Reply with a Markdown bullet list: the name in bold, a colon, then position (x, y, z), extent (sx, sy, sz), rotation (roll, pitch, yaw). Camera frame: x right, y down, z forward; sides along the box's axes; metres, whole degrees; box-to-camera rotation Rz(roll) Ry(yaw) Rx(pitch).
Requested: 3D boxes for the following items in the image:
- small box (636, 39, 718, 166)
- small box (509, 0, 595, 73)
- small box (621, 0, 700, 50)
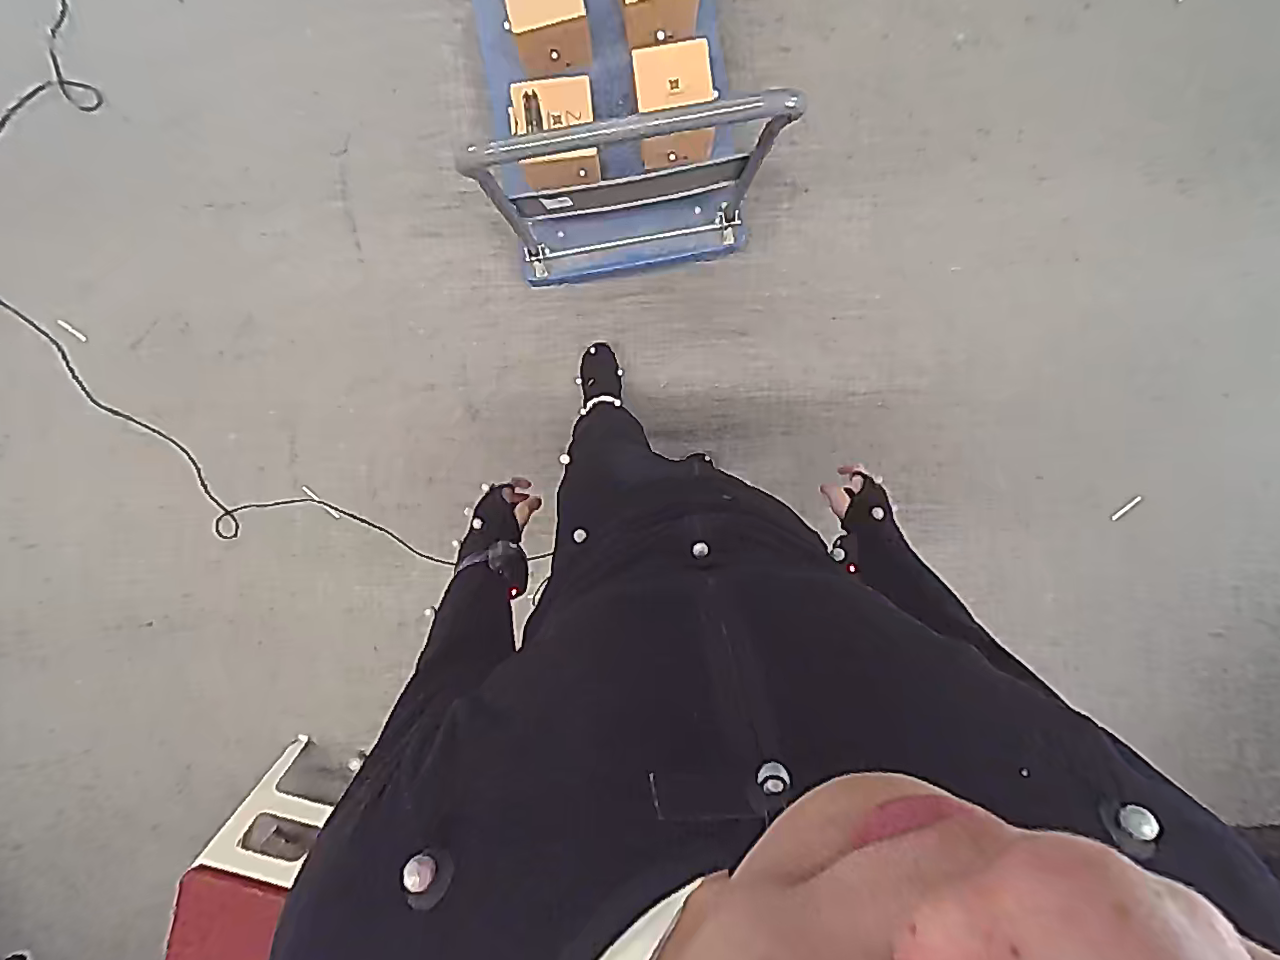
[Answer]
- **small box**: position (0.083, -0.874, 1.265), extent (0.168, 0.176, 0.179), rotation (-8, 97, 2)
- **small box**: position (-0.207, -1.082, 1.246), extent (0.168, 0.176, 0.179), rotation (-13, 96, 2)
- **small box**: position (0.038, -1.139, 1.233), extent (0.168, 0.176, 0.179), rotation (-12, 97, 4)
